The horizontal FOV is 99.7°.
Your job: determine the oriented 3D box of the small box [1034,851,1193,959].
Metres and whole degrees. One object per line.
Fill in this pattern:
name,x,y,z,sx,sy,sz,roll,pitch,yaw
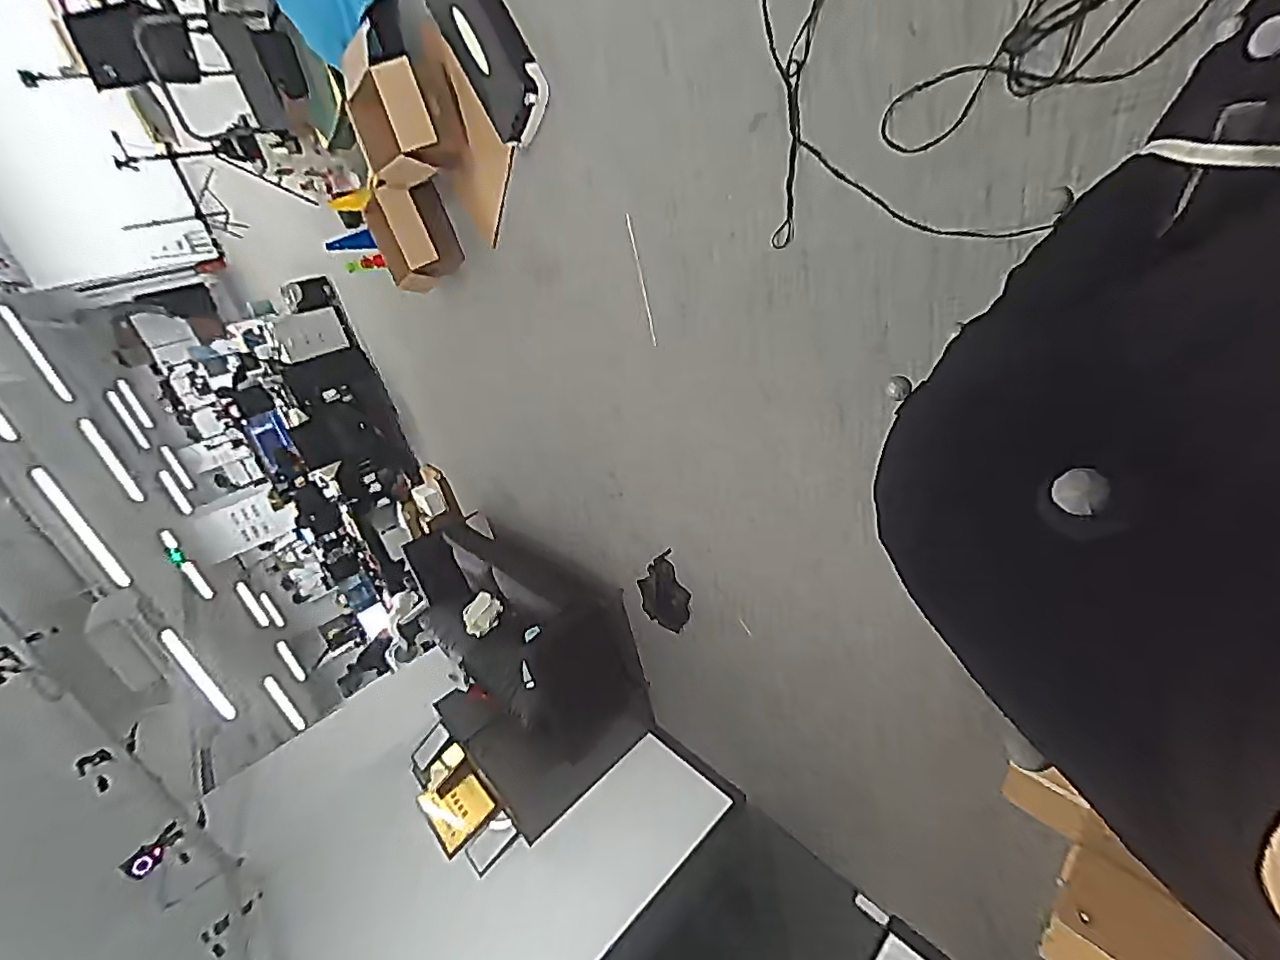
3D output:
small box,0.883,0.855,1.011,0.179,0.176,0.168,23,133,45

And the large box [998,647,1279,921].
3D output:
large box,1.150,0.678,1.269,0.408,0.320,0.320,25,134,44
